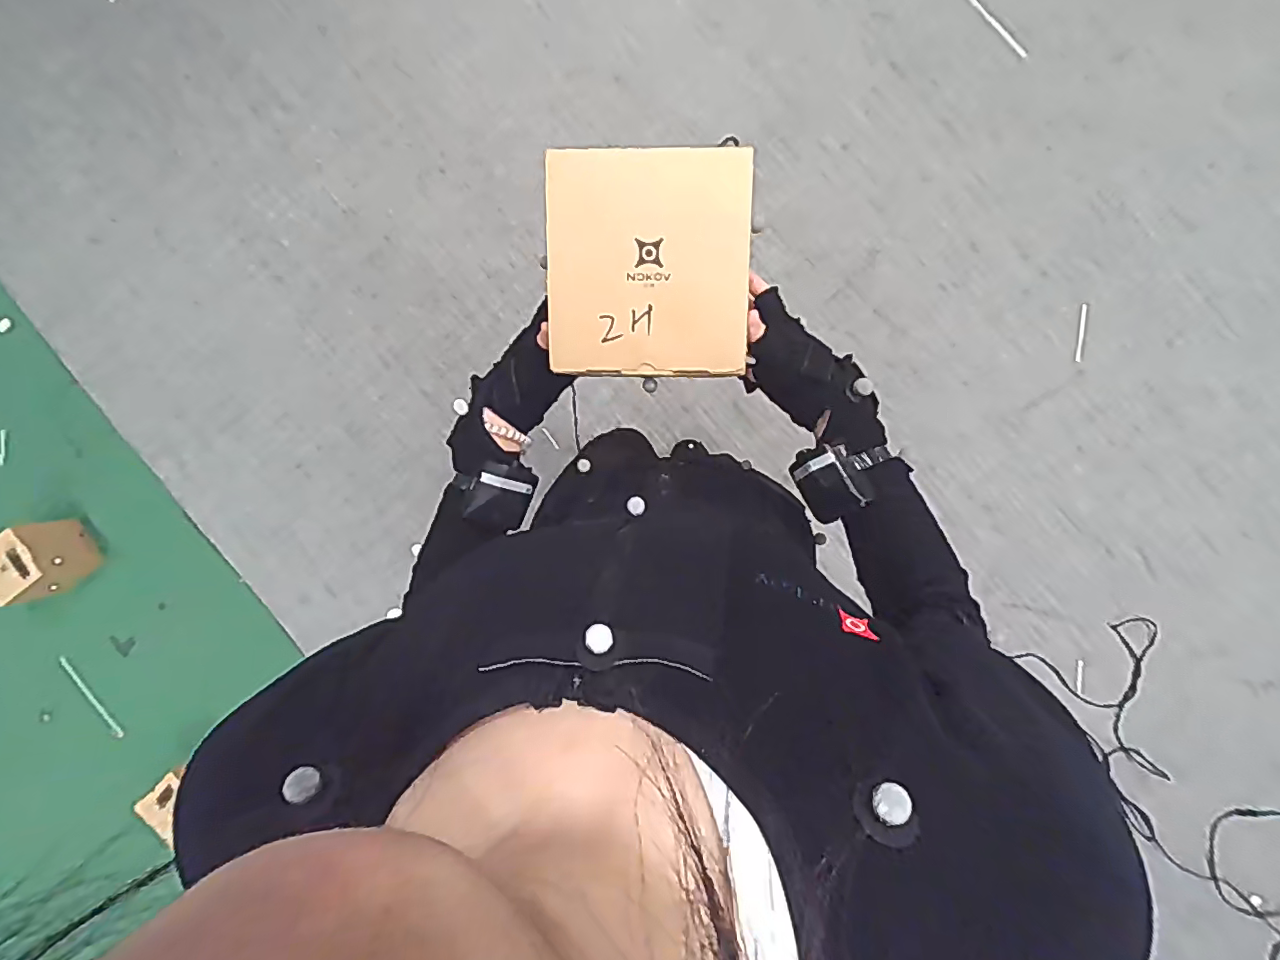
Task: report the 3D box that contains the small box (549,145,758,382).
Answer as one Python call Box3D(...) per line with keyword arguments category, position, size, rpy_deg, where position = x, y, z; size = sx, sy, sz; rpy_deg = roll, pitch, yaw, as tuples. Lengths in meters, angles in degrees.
Box3D(category="small box", position=(0.011, -0.186, 0.511), size=(0.168, 0.176, 0.179), rpy_deg=(1, 100, 3))

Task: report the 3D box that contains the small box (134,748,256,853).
Box3D(category="small box", position=(-1.289, 0.919, 1.577), size=(0.168, 0.176, 0.179), rpy_deg=(-43, 91, 7))
